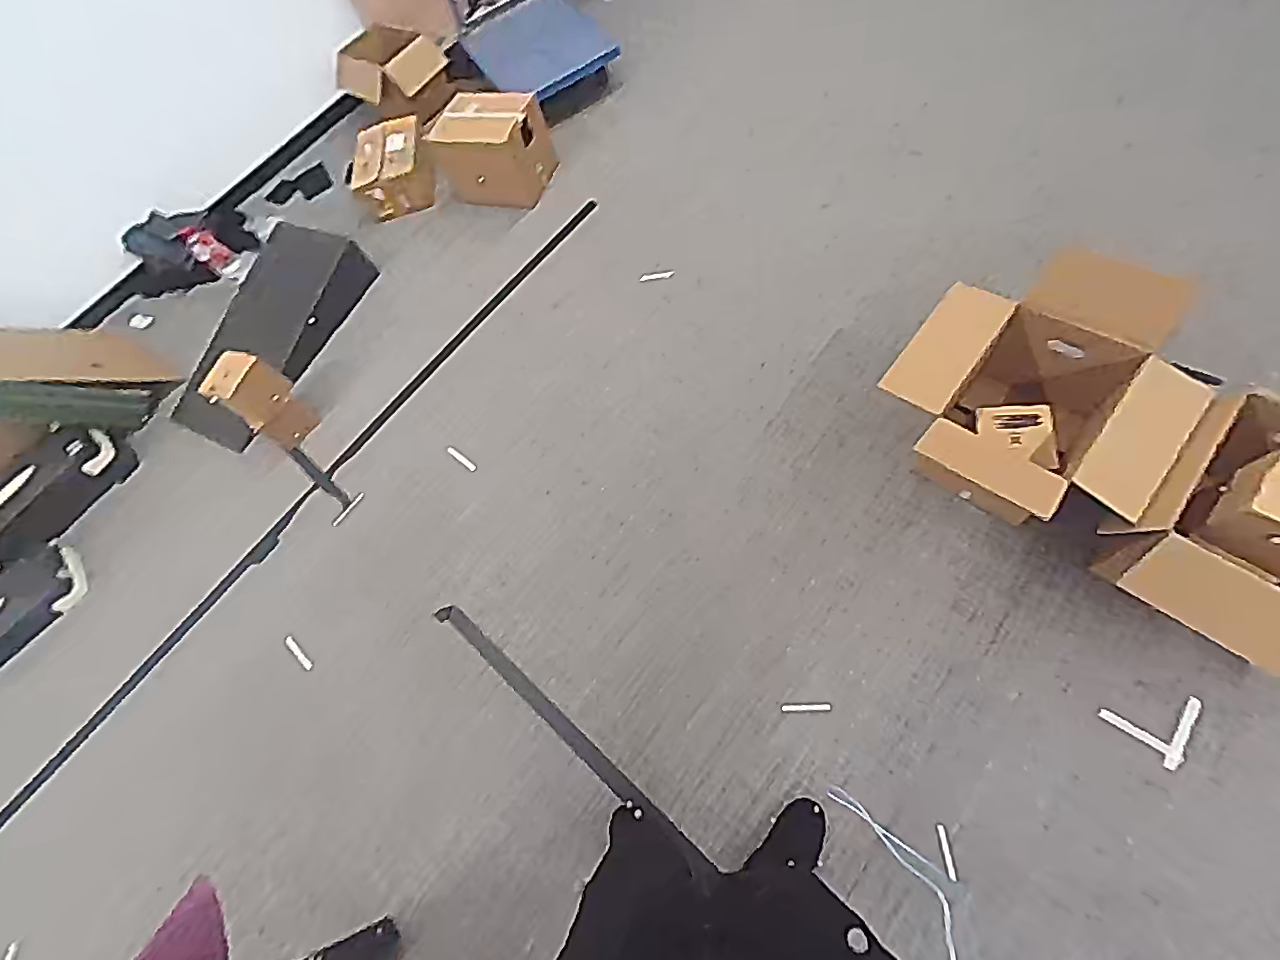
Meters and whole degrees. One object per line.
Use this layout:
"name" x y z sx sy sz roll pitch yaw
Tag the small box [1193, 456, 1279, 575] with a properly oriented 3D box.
"small box" 1.306 0.076 1.092 0.179 0.176 0.168 36 80 25
